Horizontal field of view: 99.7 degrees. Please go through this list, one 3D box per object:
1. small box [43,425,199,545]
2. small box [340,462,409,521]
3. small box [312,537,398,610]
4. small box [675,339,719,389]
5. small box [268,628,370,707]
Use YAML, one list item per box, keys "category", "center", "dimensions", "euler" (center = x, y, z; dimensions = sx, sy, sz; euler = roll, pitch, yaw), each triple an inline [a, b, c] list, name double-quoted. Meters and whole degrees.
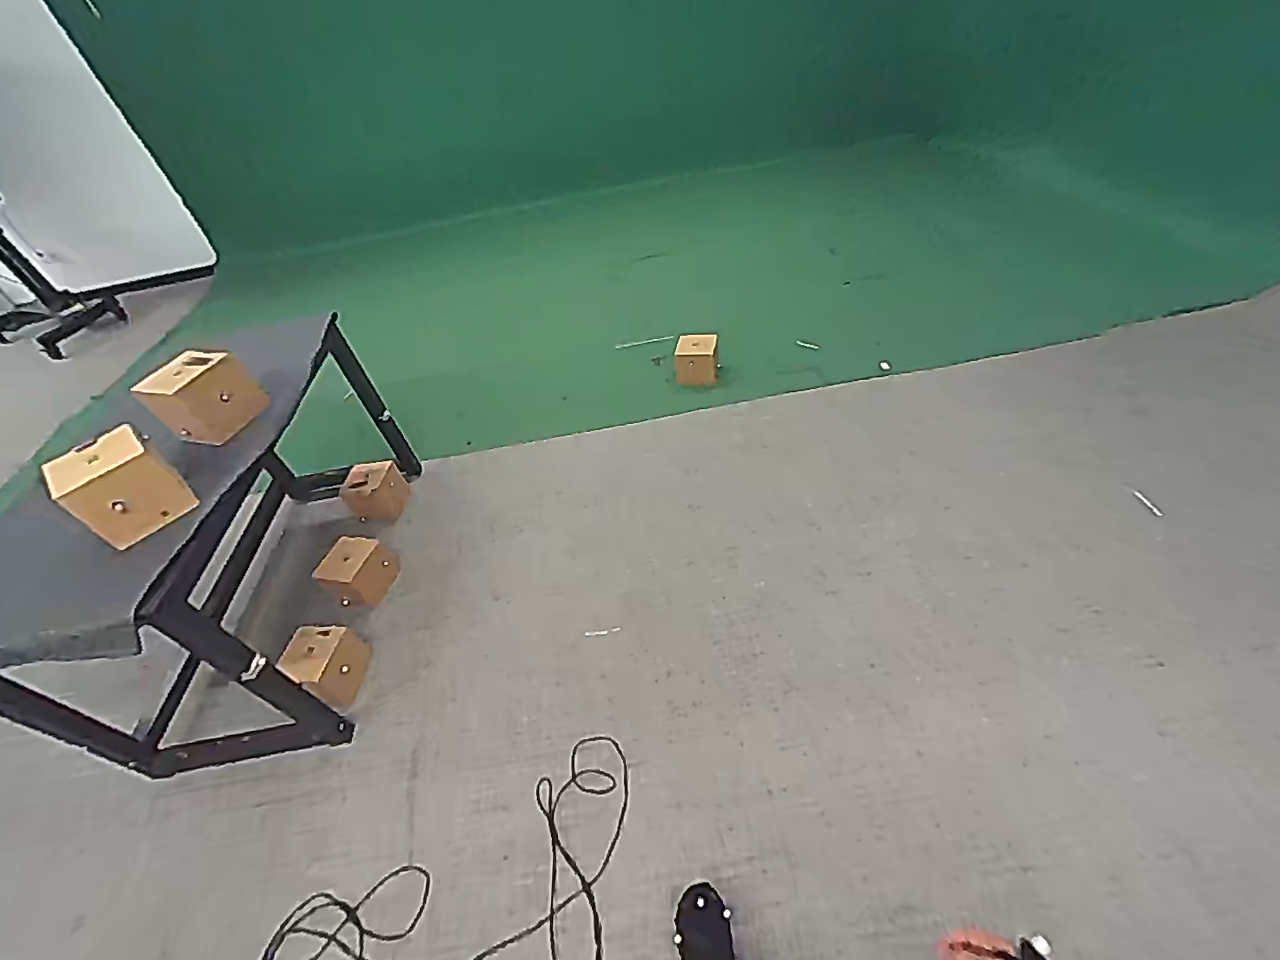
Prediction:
- category: "small box"
  center: [-1.108, 0.015, 1.166]
  dimensions: [0.179, 0.176, 0.168]
  euler: [27, 56, 33]
- category: "small box"
  center: [-1.054, 0.053, 2.164]
  dimensions: [0.168, 0.176, 0.179]
  euler: [-6, 43, 5]
- category: "small box"
  center: [-0.974, 0.325, 1.872]
  dimensions: [0.168, 0.176, 0.179]
  euler: [4, 47, 16]
- category: "small box"
  center: [0.267, -0.536, 2.493]
  dimensions: [0.179, 0.176, 0.168]
  euler: [4, 46, 15]
- category: "small box"
  center: [-0.950, 0.565, 1.623]
  dimensions: [0.168, 0.176, 0.179]
  euler: [-2, 46, 10]
